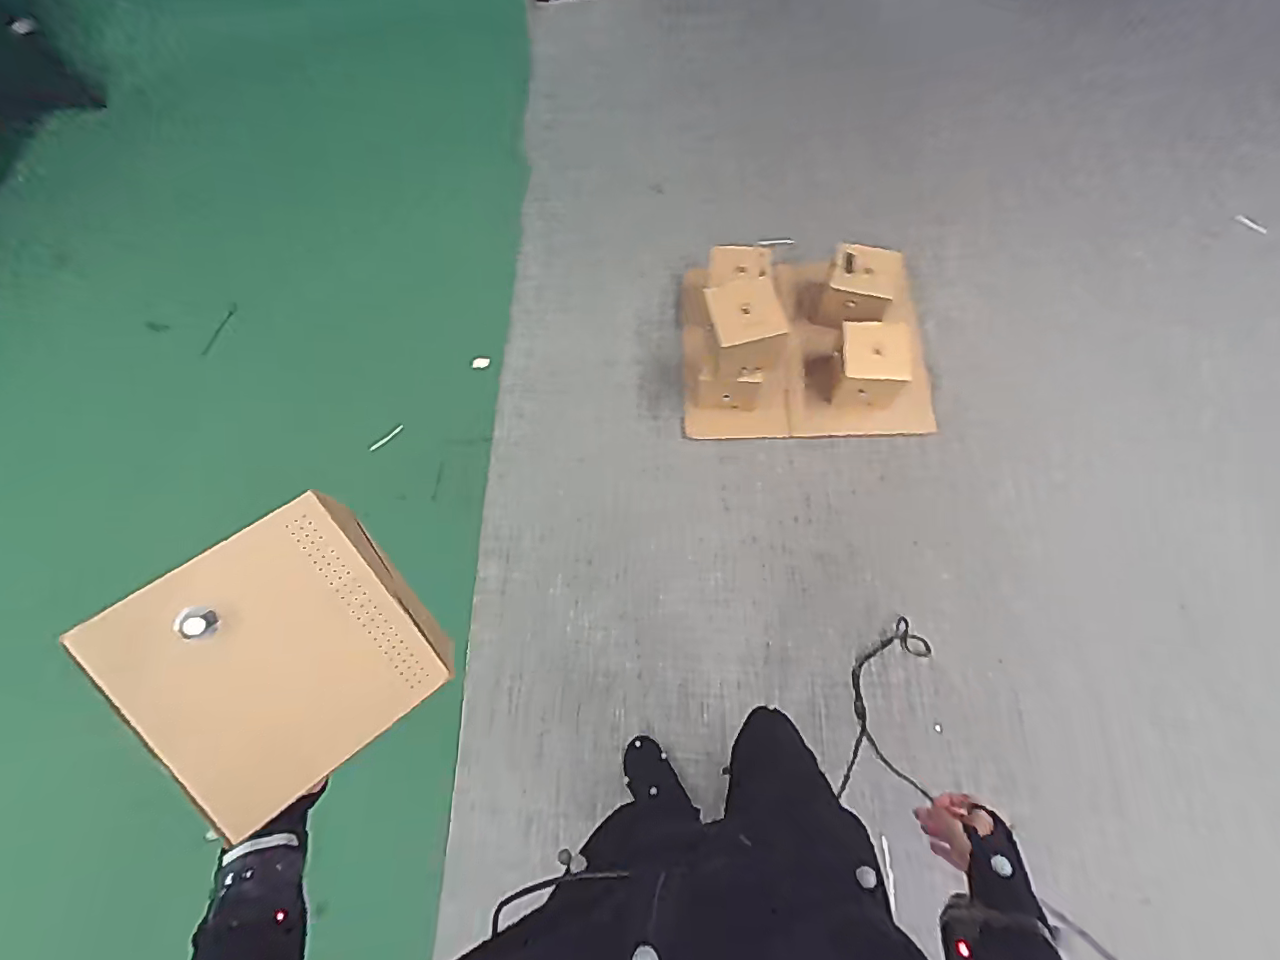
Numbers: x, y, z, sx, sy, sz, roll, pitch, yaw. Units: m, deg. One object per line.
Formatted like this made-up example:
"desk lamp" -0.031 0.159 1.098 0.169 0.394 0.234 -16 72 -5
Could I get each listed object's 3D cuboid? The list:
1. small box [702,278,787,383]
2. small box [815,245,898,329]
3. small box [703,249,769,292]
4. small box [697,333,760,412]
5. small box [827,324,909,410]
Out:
"small box" 0.255 -0.373 1.368 0.168 0.176 0.179 -13 69 1
"small box" 0.622 -0.545 1.571 0.179 0.176 0.168 14 71 9
"small box" 0.283 -0.562 1.613 0.179 0.176 0.168 5 70 8
"small box" 0.249 -0.304 1.518 0.168 0.176 0.179 4 69 6
"small box" 0.618 -0.305 1.482 0.168 0.176 0.179 3 69 6
